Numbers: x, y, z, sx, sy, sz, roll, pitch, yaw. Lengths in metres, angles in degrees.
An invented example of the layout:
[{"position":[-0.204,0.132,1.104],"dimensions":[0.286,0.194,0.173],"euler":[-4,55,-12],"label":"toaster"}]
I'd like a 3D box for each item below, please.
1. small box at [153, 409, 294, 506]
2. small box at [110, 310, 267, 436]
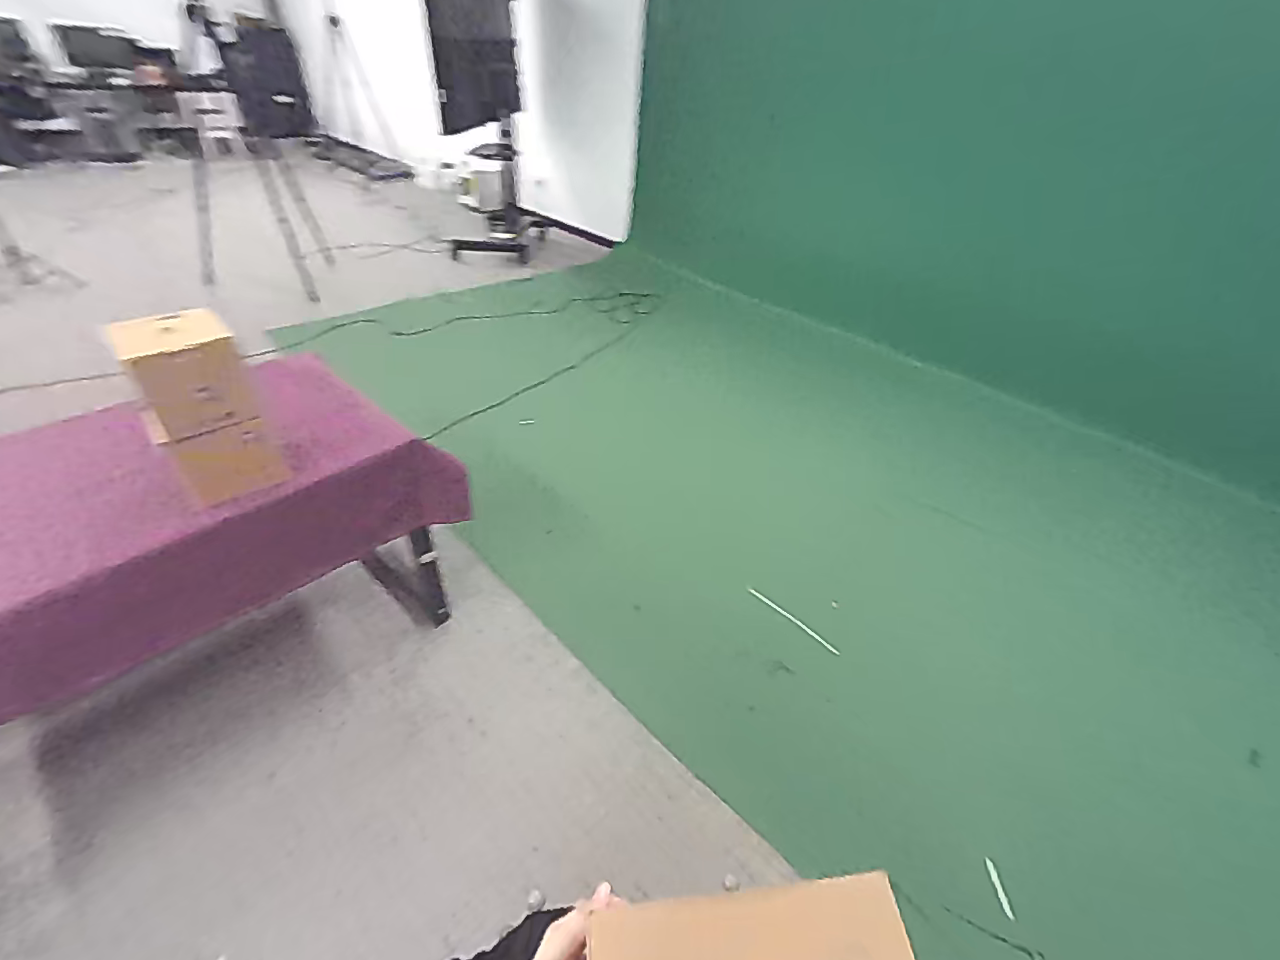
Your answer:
[{"position":[-0.867,-0.072,1.135],"dimensions":[0.179,0.176,0.168],"euler":[-26,48,-34],"label":"small box"},{"position":[-0.853,-0.202,1.035],"dimensions":[0.179,0.176,0.168],"euler":[35,46,31],"label":"small box"}]
